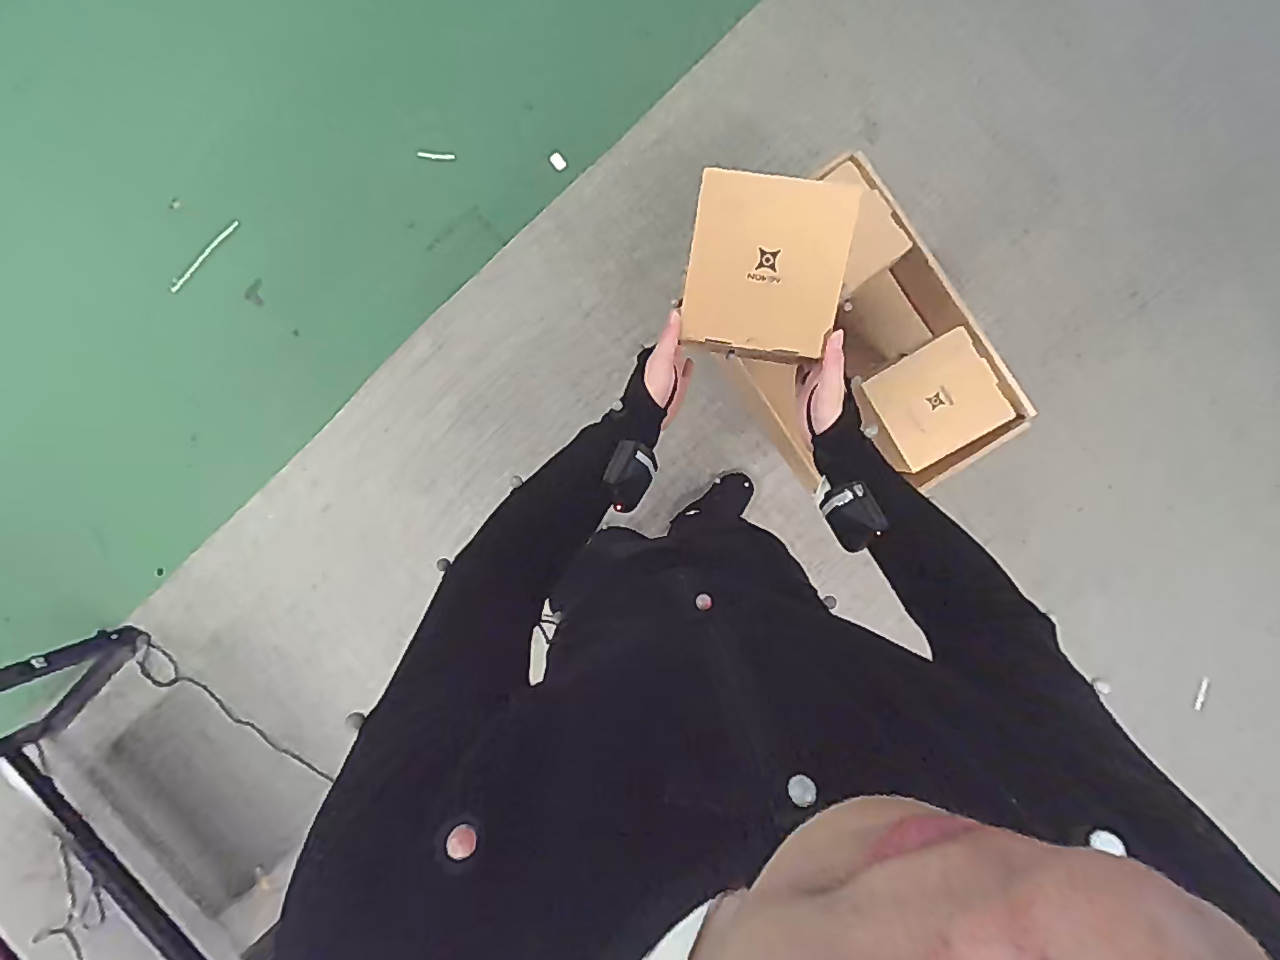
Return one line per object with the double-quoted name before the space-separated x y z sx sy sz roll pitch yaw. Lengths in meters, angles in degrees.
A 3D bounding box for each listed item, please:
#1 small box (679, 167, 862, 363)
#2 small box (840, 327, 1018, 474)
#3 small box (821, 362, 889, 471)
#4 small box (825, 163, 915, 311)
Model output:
"small box" 0.138 -0.238 0.642 0.168 0.176 0.179 8 102 2
"small box" 0.467 -0.127 0.905 0.179 0.176 0.168 -31 90 7
"small box" 0.486 -0.134 1.066 0.179 0.176 0.168 -30 90 7
"small box" 0.307 -0.371 0.901 0.179 0.176 0.168 -36 89 6
